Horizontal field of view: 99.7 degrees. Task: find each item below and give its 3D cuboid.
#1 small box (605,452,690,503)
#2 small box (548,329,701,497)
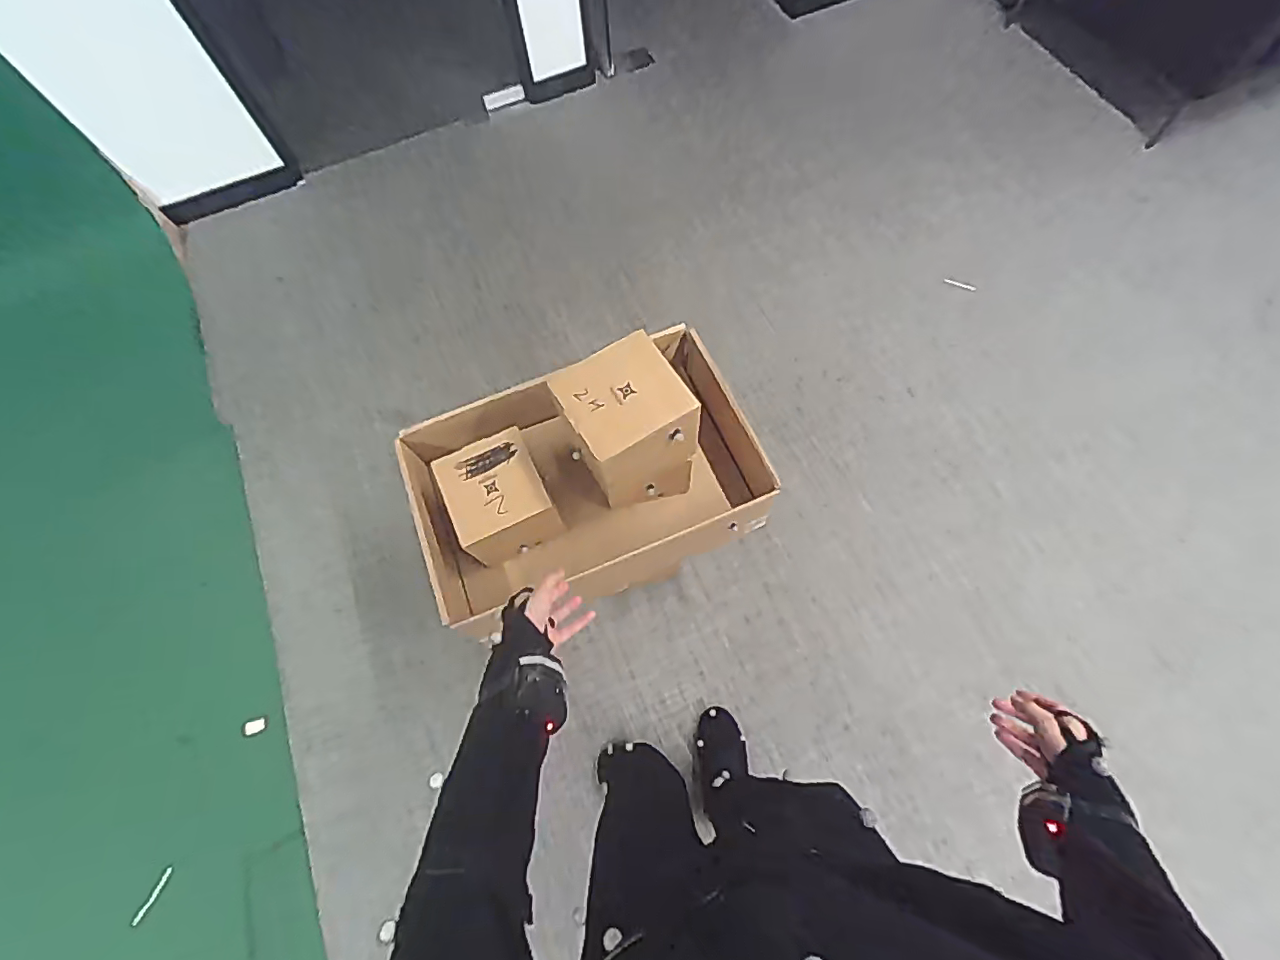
[{"bbox_3d":[-0.005,-0.067,1.031,0.168,0.176,0.179,-13,69,-2],"label":"small box"},{"bbox_3d":[-0.022,-0.100,0.867,0.179,0.176,0.168,-30,69,-8],"label":"small box"}]
